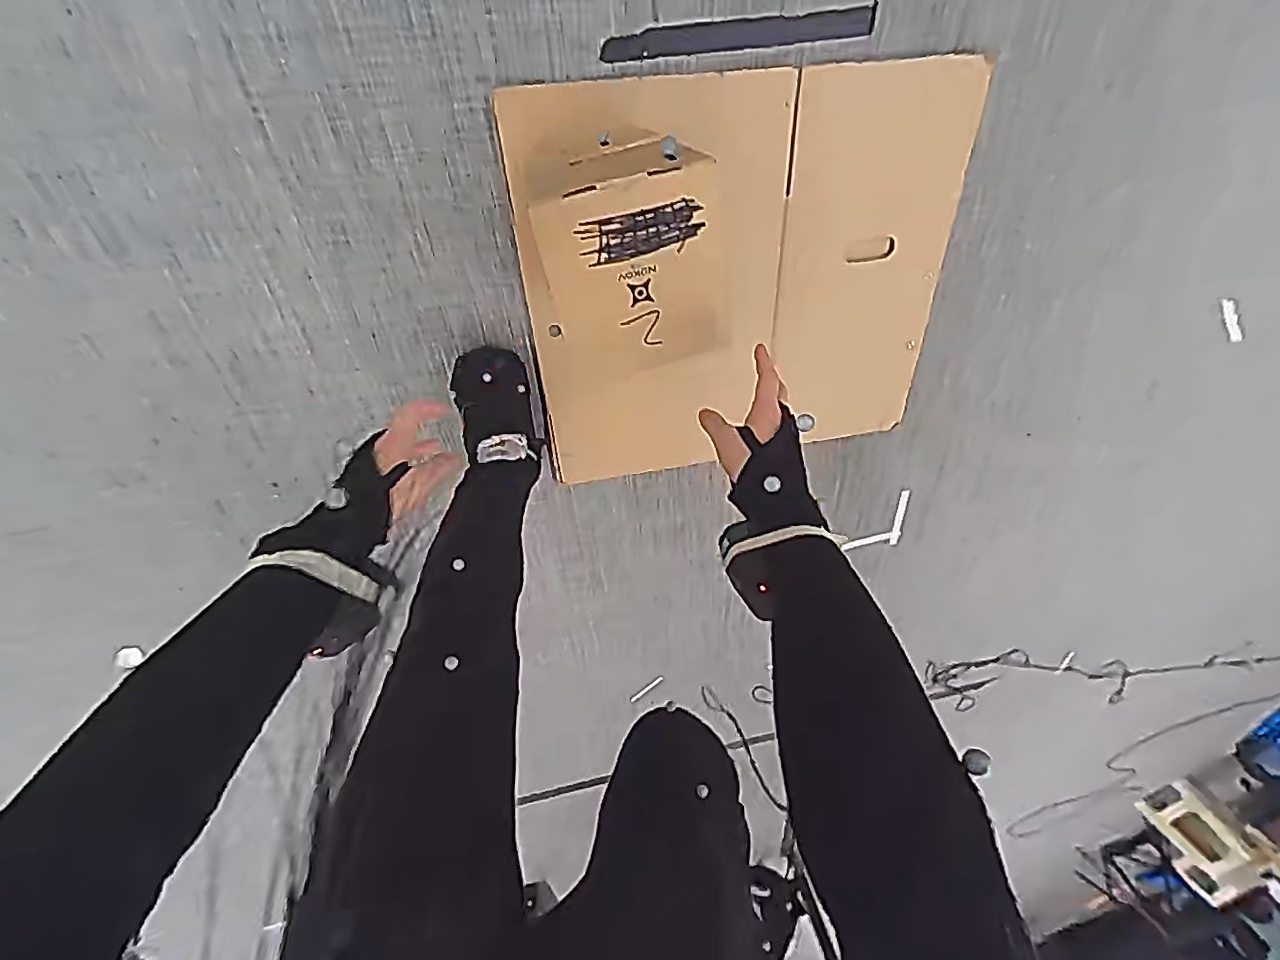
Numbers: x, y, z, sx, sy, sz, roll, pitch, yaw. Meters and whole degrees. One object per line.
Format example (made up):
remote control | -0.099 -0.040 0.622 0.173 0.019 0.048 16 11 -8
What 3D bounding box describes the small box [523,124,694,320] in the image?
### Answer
small box | -0.044 -0.334 0.689 0.168 0.176 0.179 -18 128 -1
